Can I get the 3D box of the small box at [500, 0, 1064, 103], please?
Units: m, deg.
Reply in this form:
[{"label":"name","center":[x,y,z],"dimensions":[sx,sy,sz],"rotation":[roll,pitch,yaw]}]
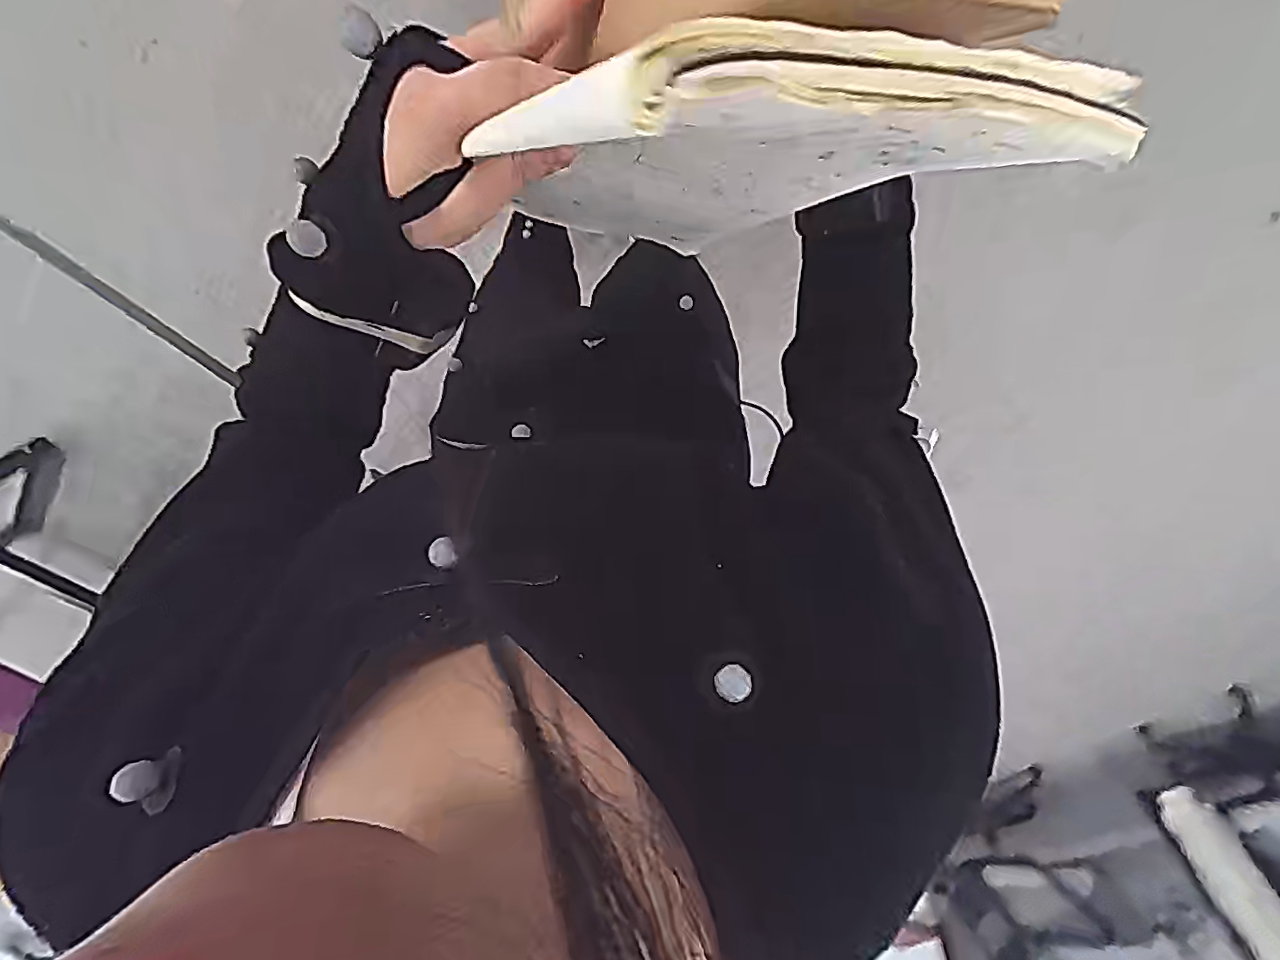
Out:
[{"label":"small box","center":[0.050,-0.255,0.196],"dimensions":[0.179,0.168,0.176],"rotation":[-26,124,-29]}]
